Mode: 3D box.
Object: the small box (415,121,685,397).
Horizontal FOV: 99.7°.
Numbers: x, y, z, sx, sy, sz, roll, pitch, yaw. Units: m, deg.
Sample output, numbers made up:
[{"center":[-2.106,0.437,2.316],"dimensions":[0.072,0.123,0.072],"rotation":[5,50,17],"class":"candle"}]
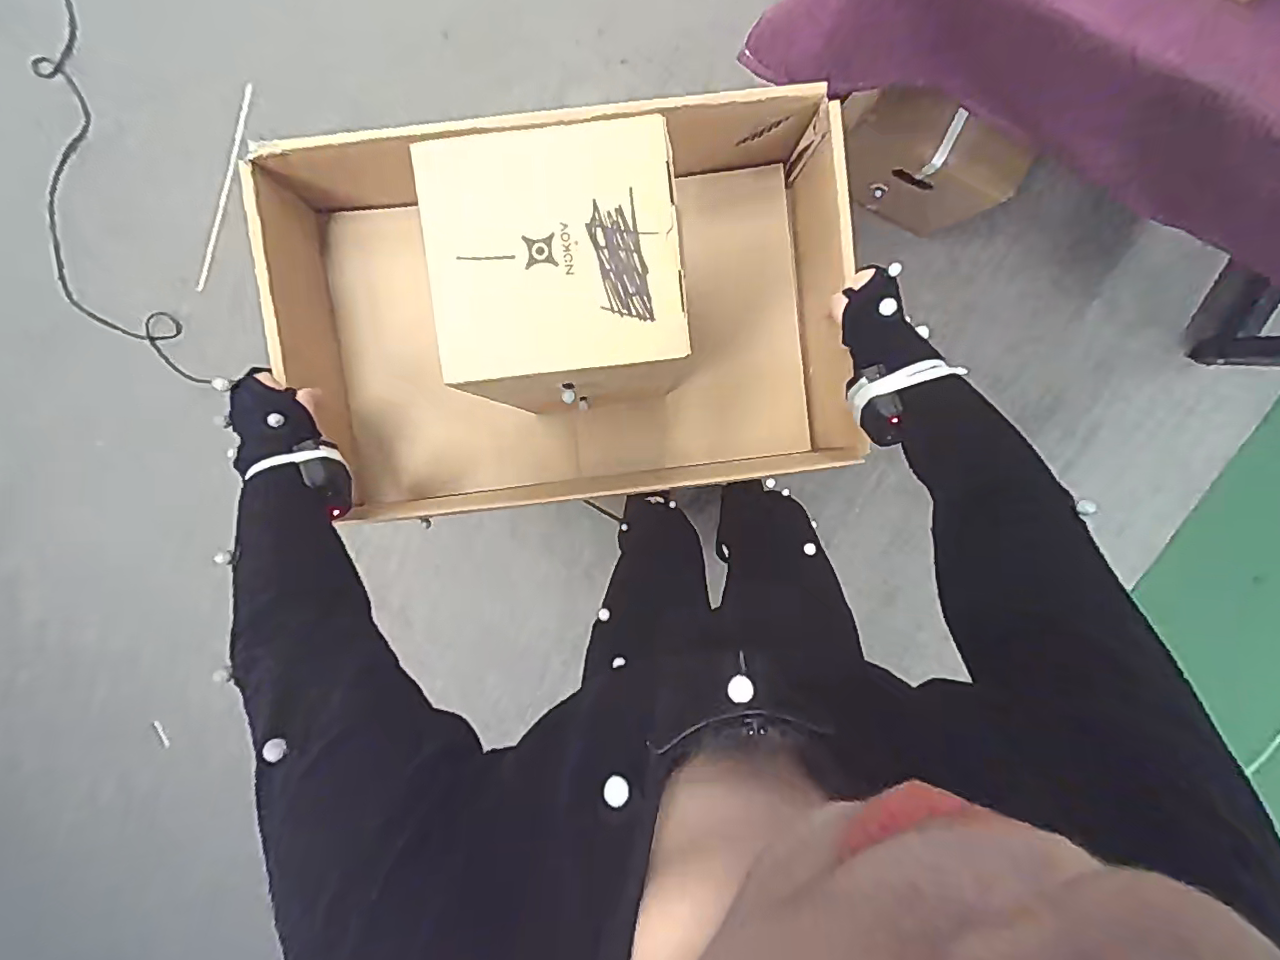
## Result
[{"center":[-0.063,-0.164,0.456],"dimensions":[0.179,0.176,0.168],"rotation":[-6,94,0],"class":"small box"}]
